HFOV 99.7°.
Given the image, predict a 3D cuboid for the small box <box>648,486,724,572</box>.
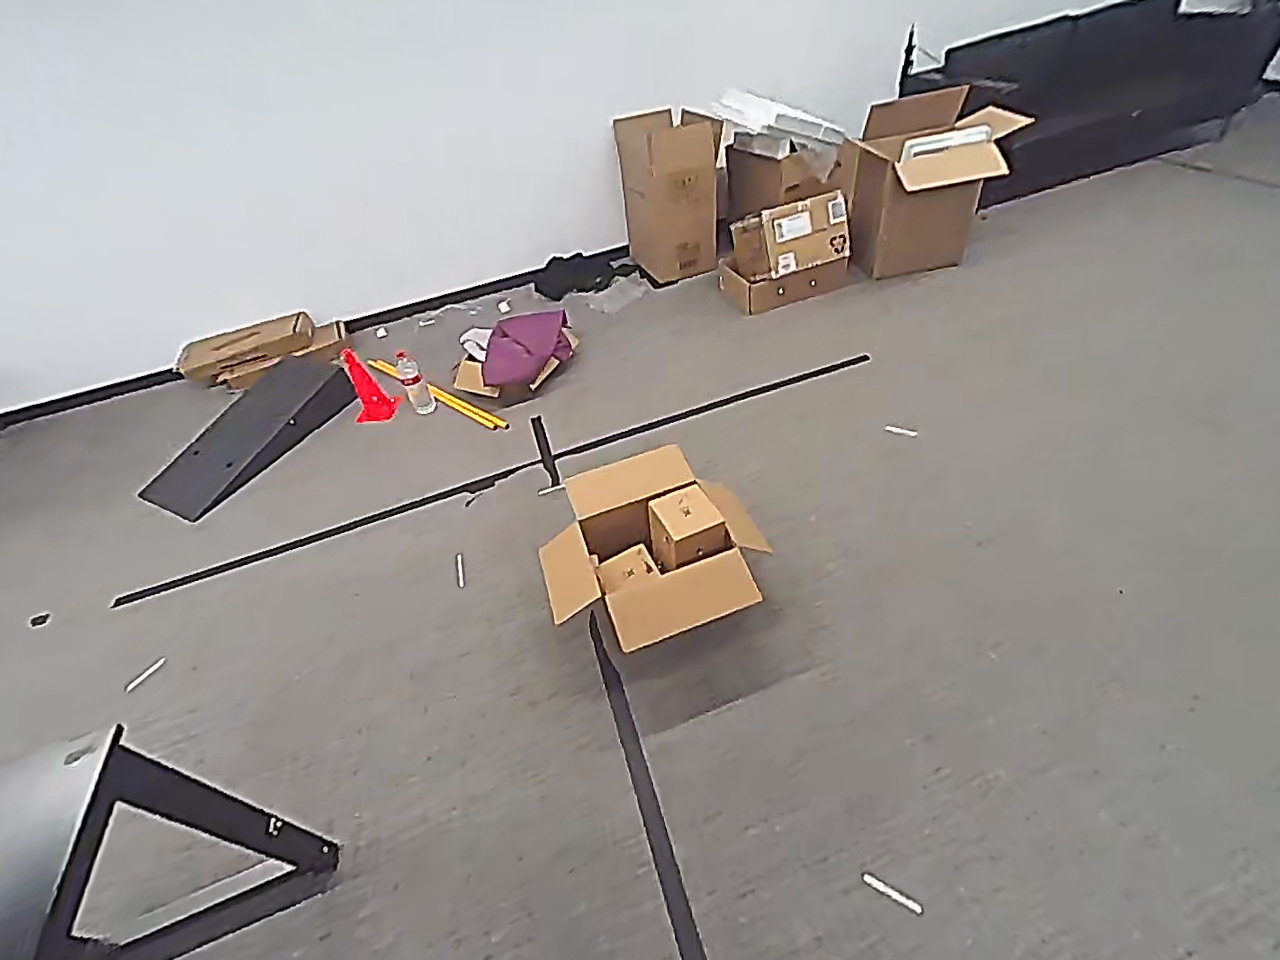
[{"bbox_3d":[0.139,0.154,1.622,0.168,0.176,0.179,-20,45,-15],"label":"small box"}]
